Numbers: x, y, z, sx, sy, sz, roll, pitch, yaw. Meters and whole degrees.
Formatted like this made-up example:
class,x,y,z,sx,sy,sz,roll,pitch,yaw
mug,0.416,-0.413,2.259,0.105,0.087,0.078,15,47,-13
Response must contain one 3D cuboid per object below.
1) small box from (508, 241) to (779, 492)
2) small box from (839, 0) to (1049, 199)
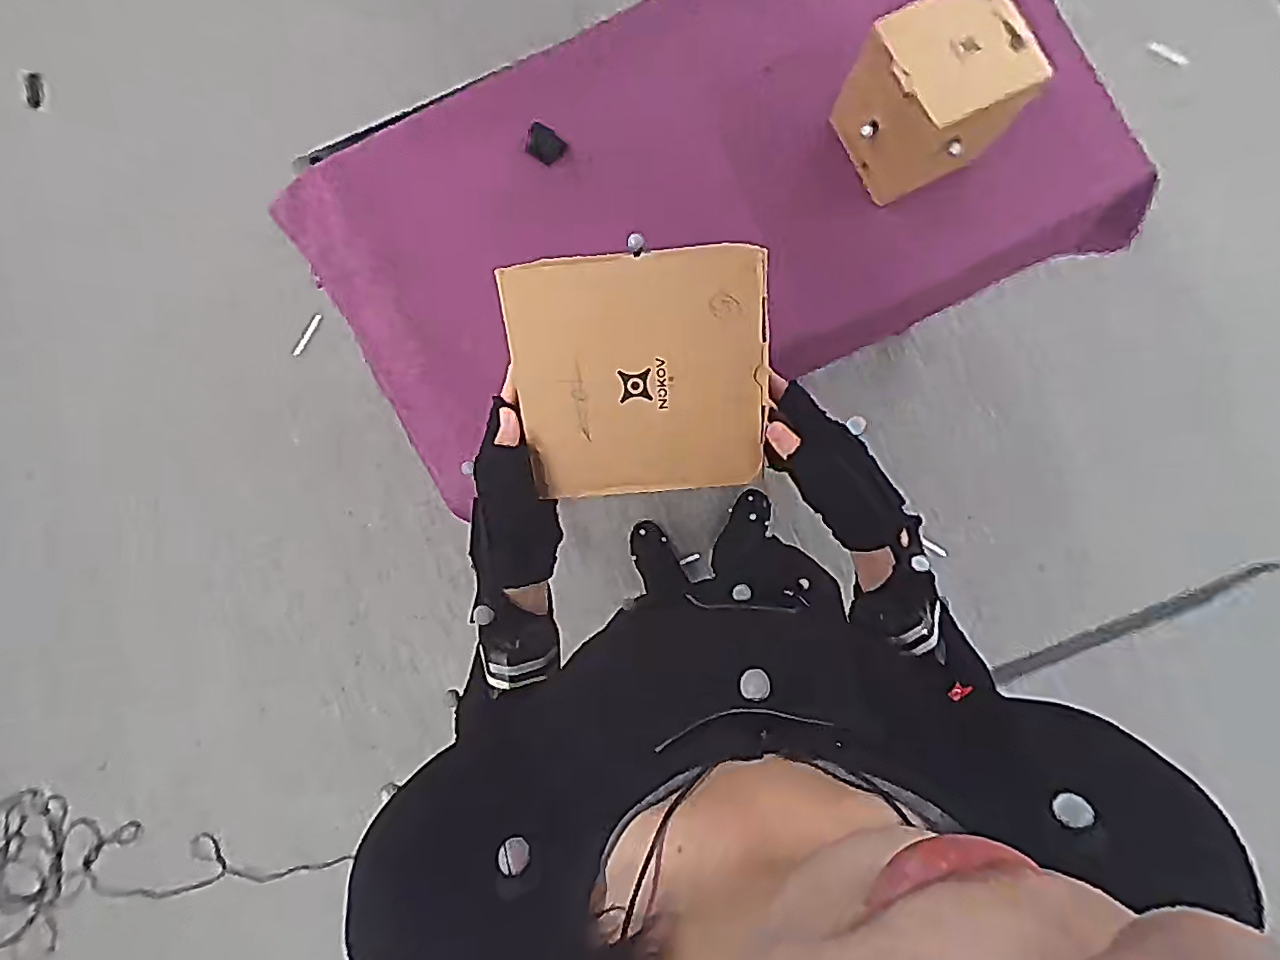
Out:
class,x,y,z,sx,sy,sz,roll,pitch,yaw
small box,0.008,-0.102,0.445,0.179,0.176,0.168,-4,112,3
small box,0.408,-0.543,0.767,0.179,0.176,0.168,-27,86,-1
